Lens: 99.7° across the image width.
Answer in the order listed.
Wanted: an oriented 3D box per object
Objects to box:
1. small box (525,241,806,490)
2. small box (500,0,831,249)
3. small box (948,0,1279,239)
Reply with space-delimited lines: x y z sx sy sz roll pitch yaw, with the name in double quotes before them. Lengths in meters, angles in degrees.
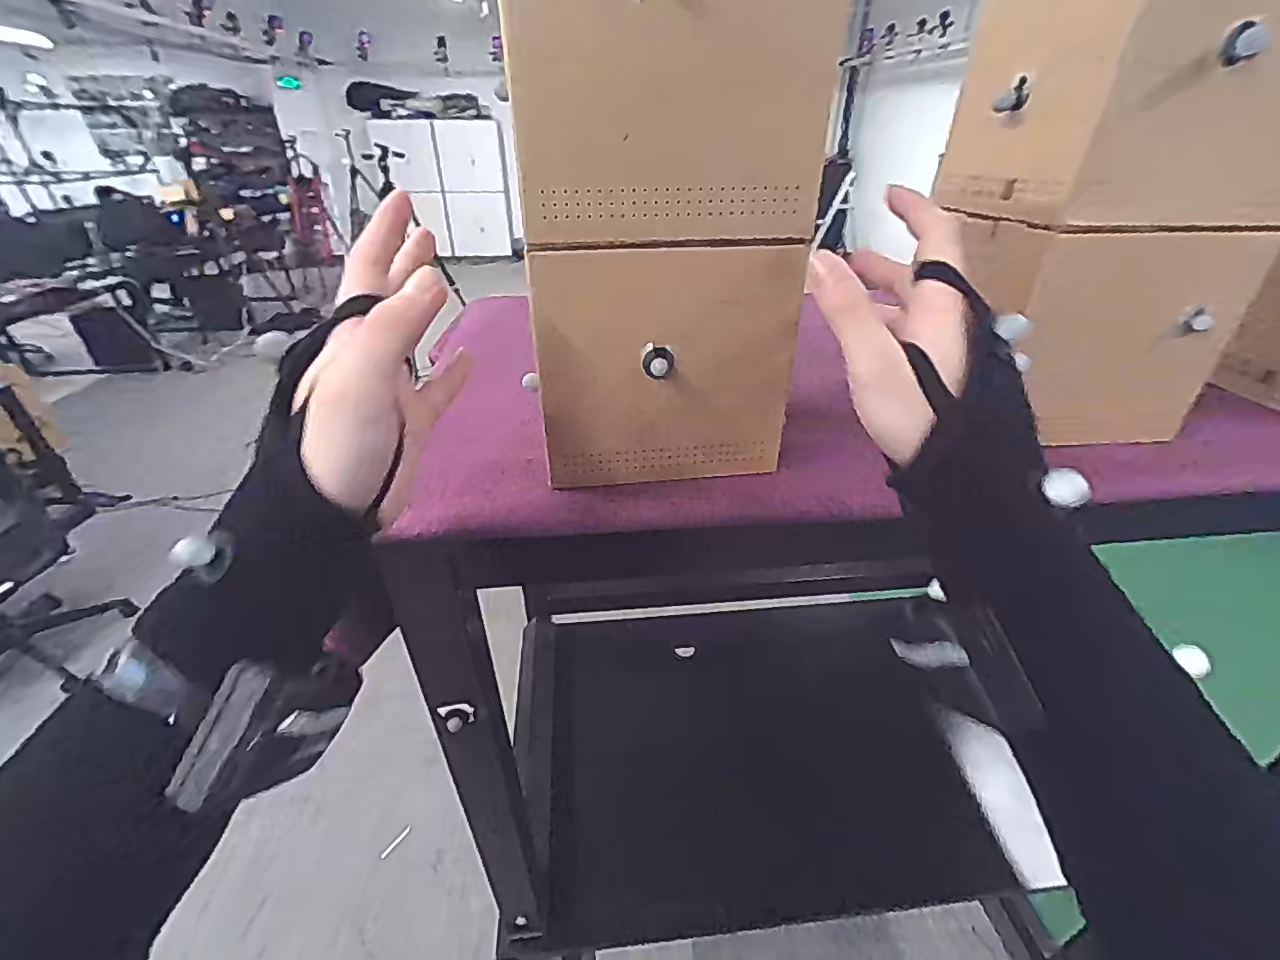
"small box" 0.008 -0.107 0.433 0.179 0.176 0.168 -5 32 -6
"small box" 0.009 -0.248 0.348 0.179 0.176 0.168 -3 32 -5
"small box" 0.357 -0.277 0.395 0.179 0.176 0.168 -3 32 -3
